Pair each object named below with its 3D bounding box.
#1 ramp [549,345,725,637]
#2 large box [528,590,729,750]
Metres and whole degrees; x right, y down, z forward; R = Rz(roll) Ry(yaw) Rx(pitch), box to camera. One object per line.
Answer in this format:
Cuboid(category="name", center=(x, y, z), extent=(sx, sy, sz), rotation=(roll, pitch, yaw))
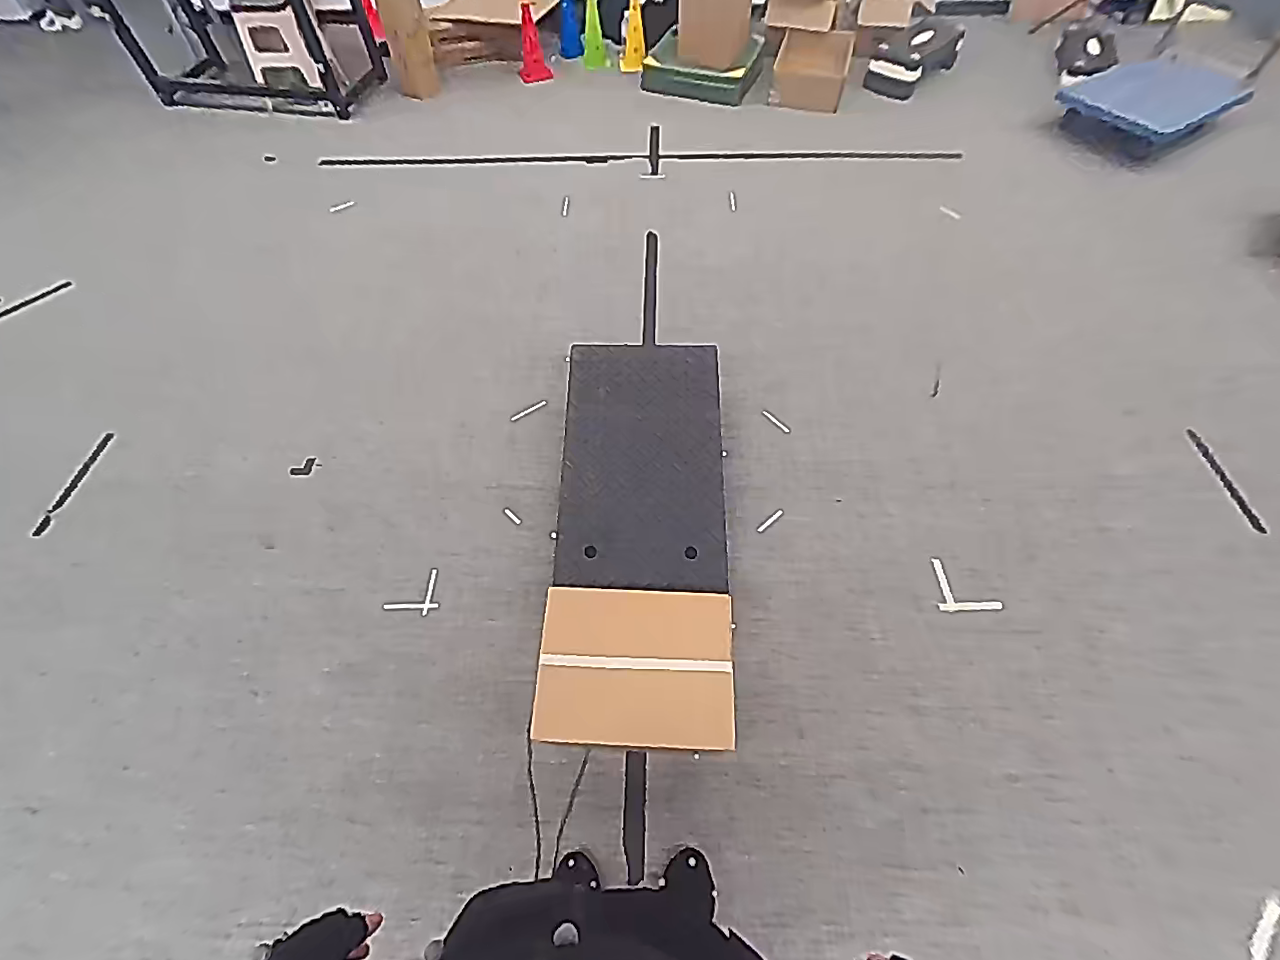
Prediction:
Cuboid(category="ramp", center=(-0.003, 0.013, 1.629), extent=(0.509, 0.206, 0.991), rotation=(0, 57, -1))
Cuboid(category="large box", center=(-0.017, 0.455, 1.263), extent=(0.408, 0.320, 0.320), rotation=(2, 61, 1))
